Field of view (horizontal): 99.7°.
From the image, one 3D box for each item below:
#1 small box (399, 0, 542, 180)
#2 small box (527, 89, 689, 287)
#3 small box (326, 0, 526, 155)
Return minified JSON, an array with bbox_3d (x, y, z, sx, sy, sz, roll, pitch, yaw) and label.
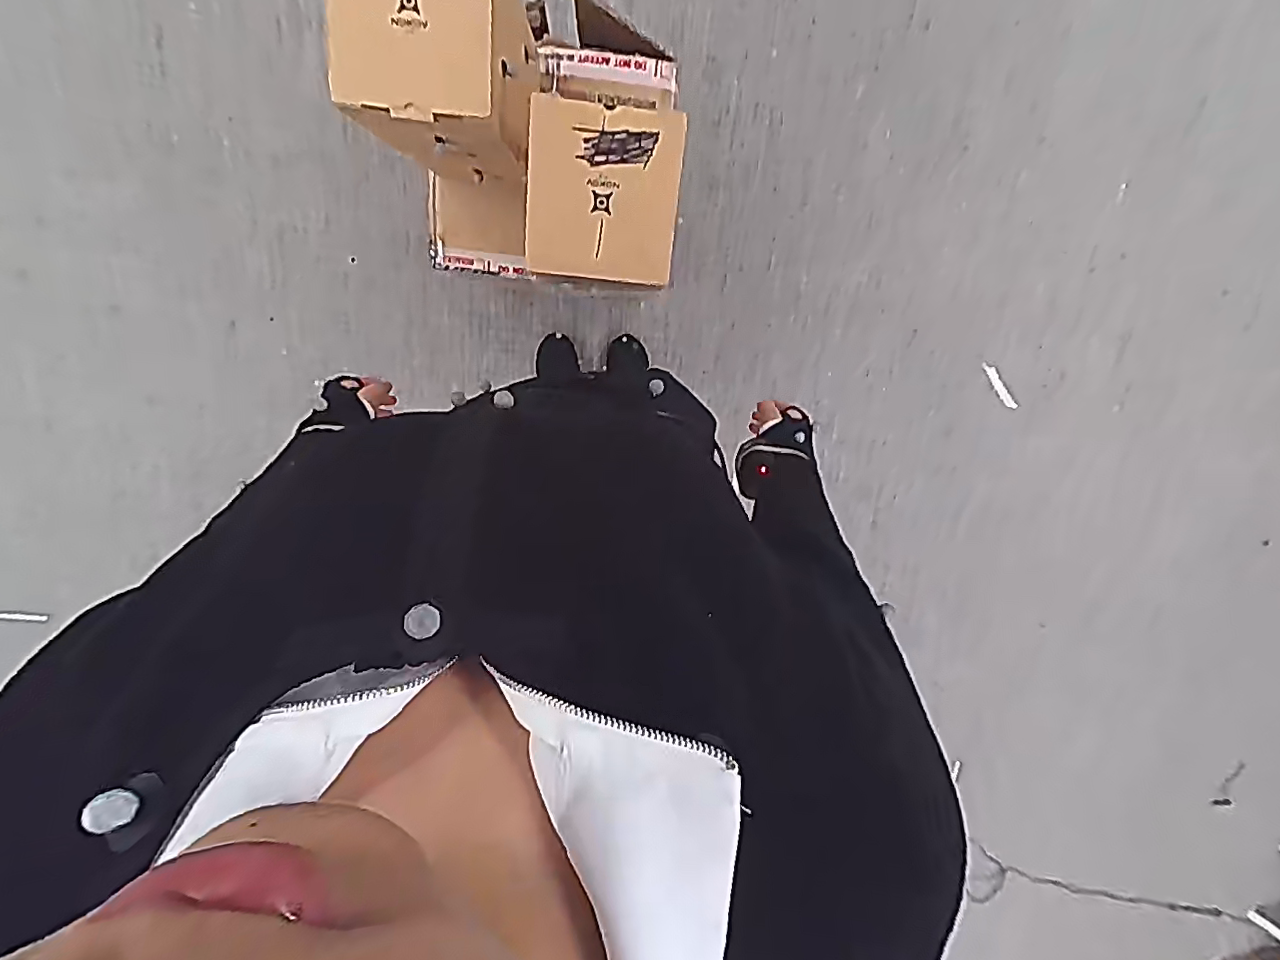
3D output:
[{"bbox_3d":[-0.233,-0.545,0.763,0.168,0.176,0.179,3,108,-1],"label":"small box"},{"bbox_3d":[-0.040,-0.339,0.664,0.168,0.176,0.179,5,108,-3],"label":"small box"},{"bbox_3d":[-0.226,-0.486,0.609,0.168,0.176,0.179,5,108,-2],"label":"small box"}]
